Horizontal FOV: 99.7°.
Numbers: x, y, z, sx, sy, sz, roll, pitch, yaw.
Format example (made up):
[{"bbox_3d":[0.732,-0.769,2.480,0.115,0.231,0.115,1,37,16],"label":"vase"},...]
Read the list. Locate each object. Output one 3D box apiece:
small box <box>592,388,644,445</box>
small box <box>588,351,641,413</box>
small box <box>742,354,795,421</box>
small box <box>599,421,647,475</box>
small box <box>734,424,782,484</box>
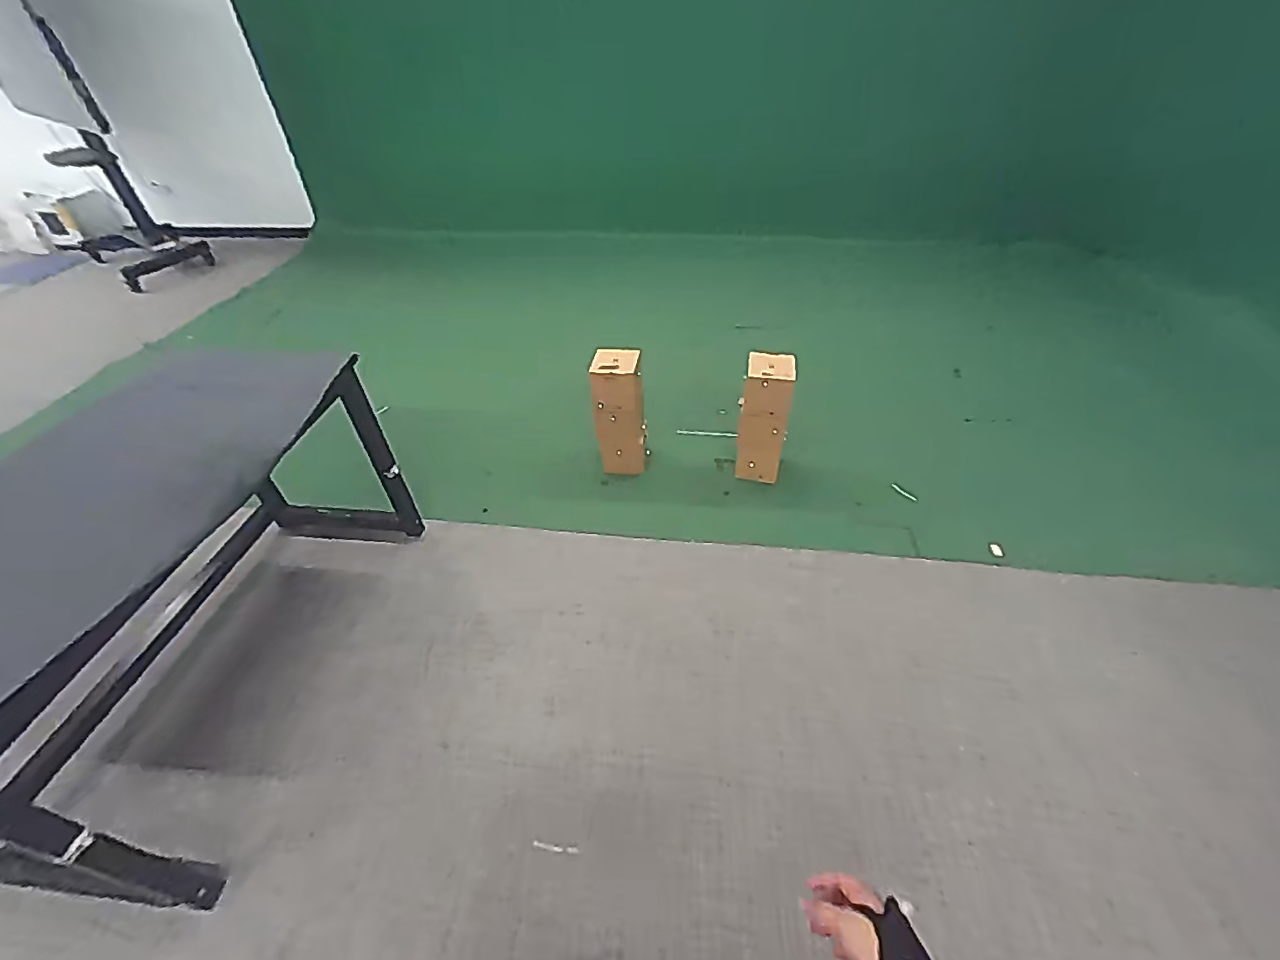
[{"bbox_3d":[-0.084,-0.257,2.155,0.179,0.176,0.168,5,44,7],"label":"small box"},{"bbox_3d":[-0.089,-0.369,2.035,0.168,0.176,0.179,4,43,8],"label":"small box"},{"bbox_3d":[0.469,-0.340,1.985,0.168,0.176,0.179,7,42,8],"label":"small box"},{"bbox_3d":[-0.067,-0.137,2.264,0.179,0.176,0.168,3,44,6],"label":"small box"},{"bbox_3d":[0.483,-0.104,2.214,0.168,0.176,0.179,10,44,12],"label":"small box"}]
